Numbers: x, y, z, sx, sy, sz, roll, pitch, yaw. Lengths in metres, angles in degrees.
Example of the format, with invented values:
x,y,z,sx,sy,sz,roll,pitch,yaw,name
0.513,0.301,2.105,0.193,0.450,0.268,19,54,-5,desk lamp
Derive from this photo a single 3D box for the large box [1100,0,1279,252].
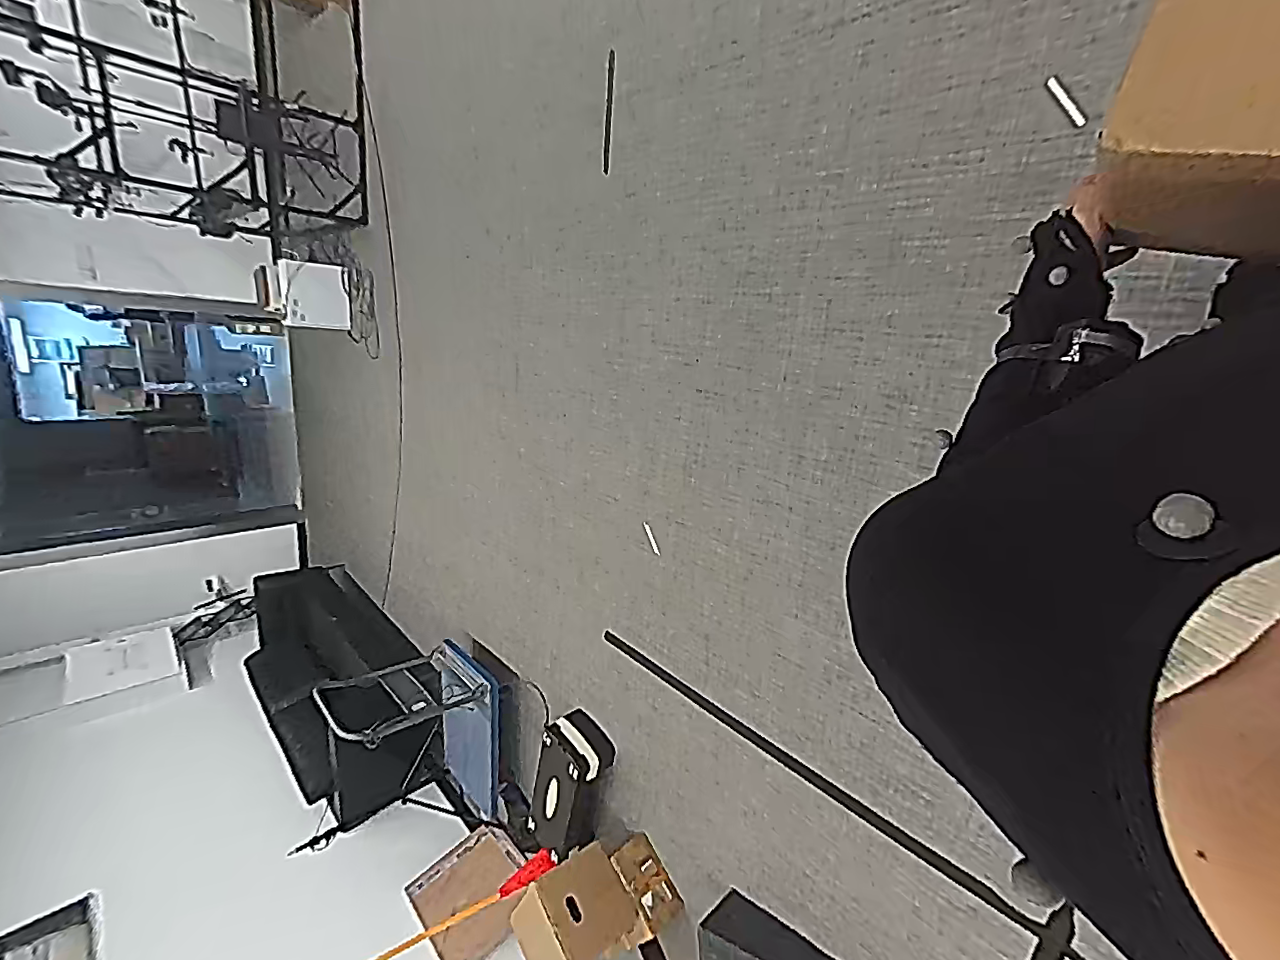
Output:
x,y,z,sx,sy,sz,roll,pitch,yaw,name
0.490,-0.264,0.210,0.408,0.320,0.320,26,117,33,large box
